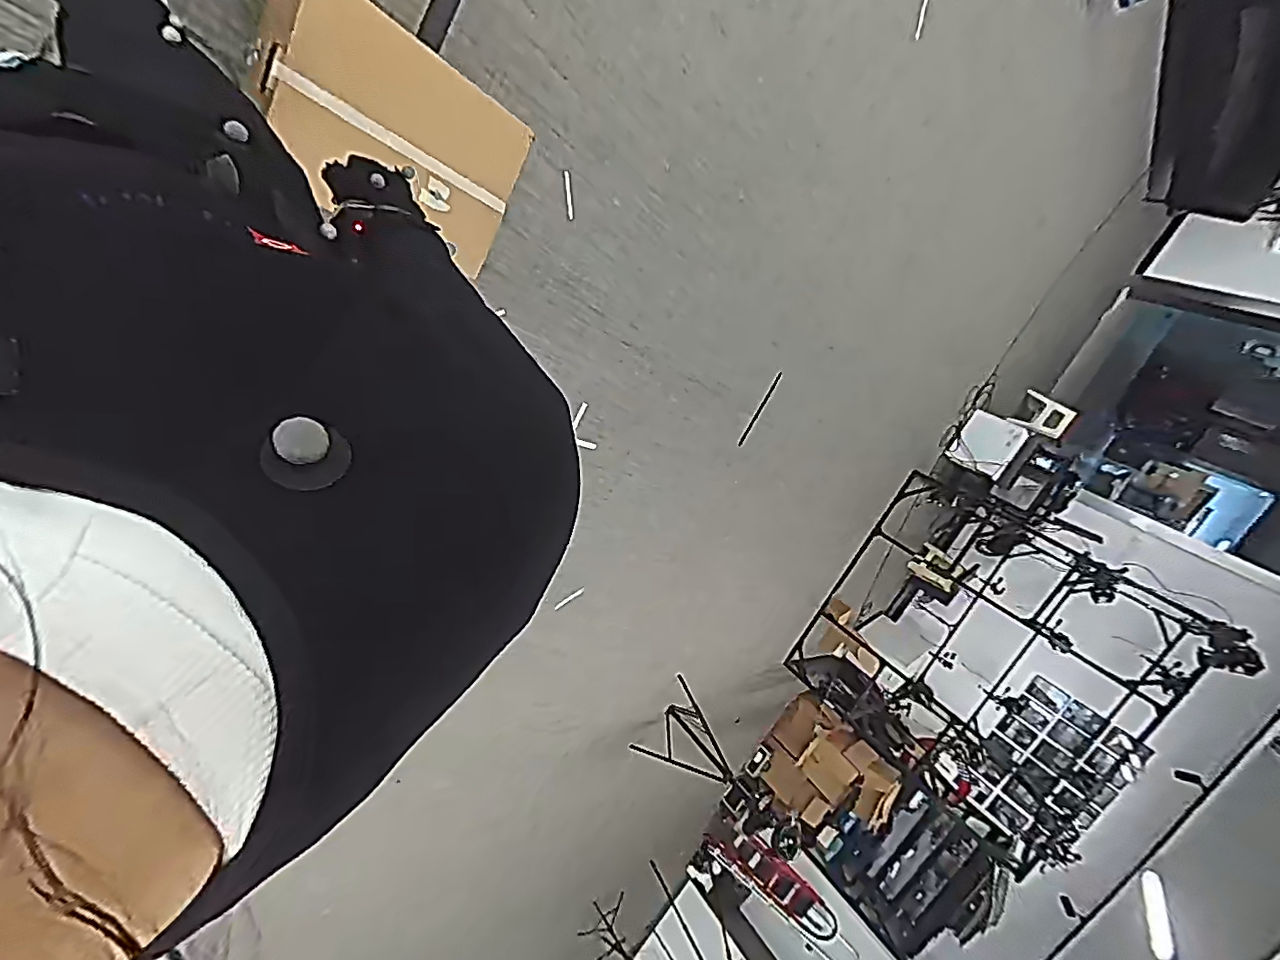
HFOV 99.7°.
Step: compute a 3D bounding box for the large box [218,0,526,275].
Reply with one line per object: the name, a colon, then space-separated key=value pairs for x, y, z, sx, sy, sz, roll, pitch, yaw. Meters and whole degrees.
large box: x=-0.509 y=-0.654 z=1.034 sx=0.408 sy=0.320 sz=0.320 roll=12 pitch=112 yaw=-50
